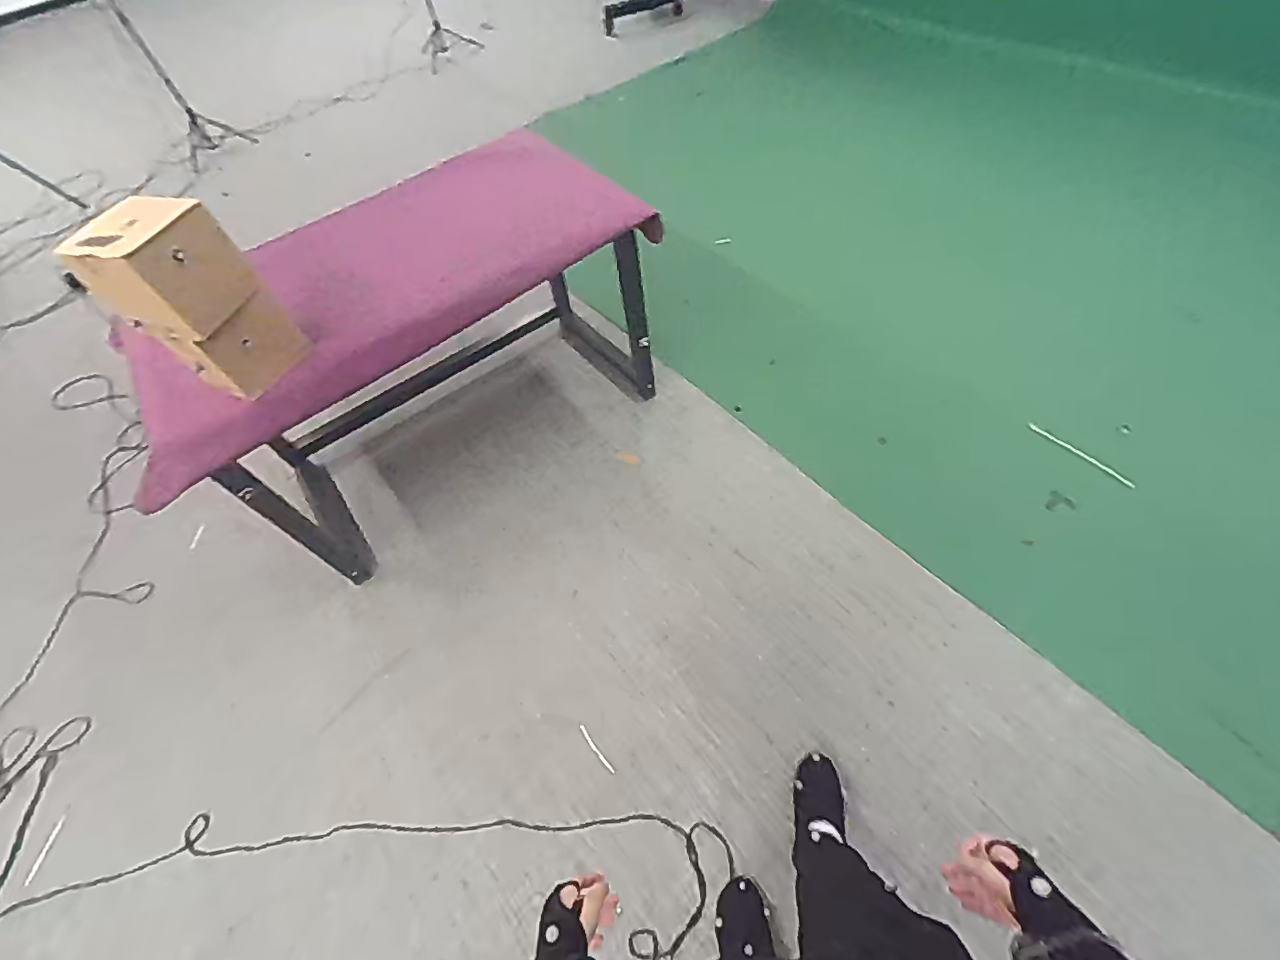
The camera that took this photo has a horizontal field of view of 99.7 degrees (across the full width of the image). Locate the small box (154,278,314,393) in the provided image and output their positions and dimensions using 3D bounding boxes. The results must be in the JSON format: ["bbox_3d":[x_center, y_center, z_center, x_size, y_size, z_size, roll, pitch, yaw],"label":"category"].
[{"bbox_3d":[-0.826,-0.308,1.114,0.168,0.176,0.179,21,61,20],"label":"small box"}]

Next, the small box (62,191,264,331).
[{"bbox_3d":[-0.835,-0.390,0.970,0.168,0.176,0.179,10,57,14],"label":"small box"}]
